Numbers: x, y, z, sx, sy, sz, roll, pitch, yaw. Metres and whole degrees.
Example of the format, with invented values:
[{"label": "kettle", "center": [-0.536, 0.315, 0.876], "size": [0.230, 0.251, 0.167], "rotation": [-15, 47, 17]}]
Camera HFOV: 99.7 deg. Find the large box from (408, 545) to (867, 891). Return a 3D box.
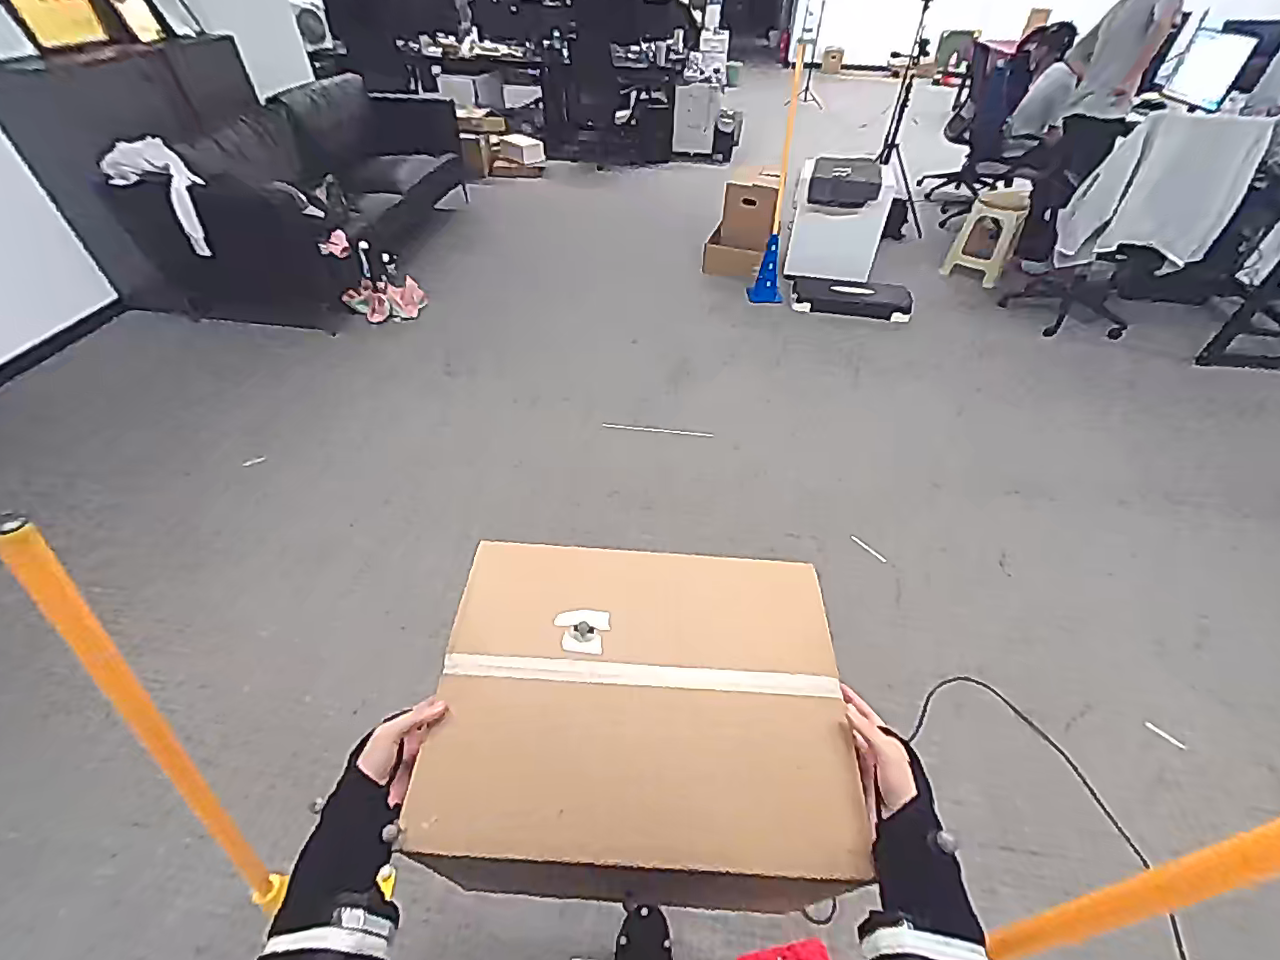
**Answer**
[{"label": "large box", "center": [-0.001, 0.301, 0.671], "size": [0.408, 0.320, 0.320], "rotation": [4, 47, 0]}]
